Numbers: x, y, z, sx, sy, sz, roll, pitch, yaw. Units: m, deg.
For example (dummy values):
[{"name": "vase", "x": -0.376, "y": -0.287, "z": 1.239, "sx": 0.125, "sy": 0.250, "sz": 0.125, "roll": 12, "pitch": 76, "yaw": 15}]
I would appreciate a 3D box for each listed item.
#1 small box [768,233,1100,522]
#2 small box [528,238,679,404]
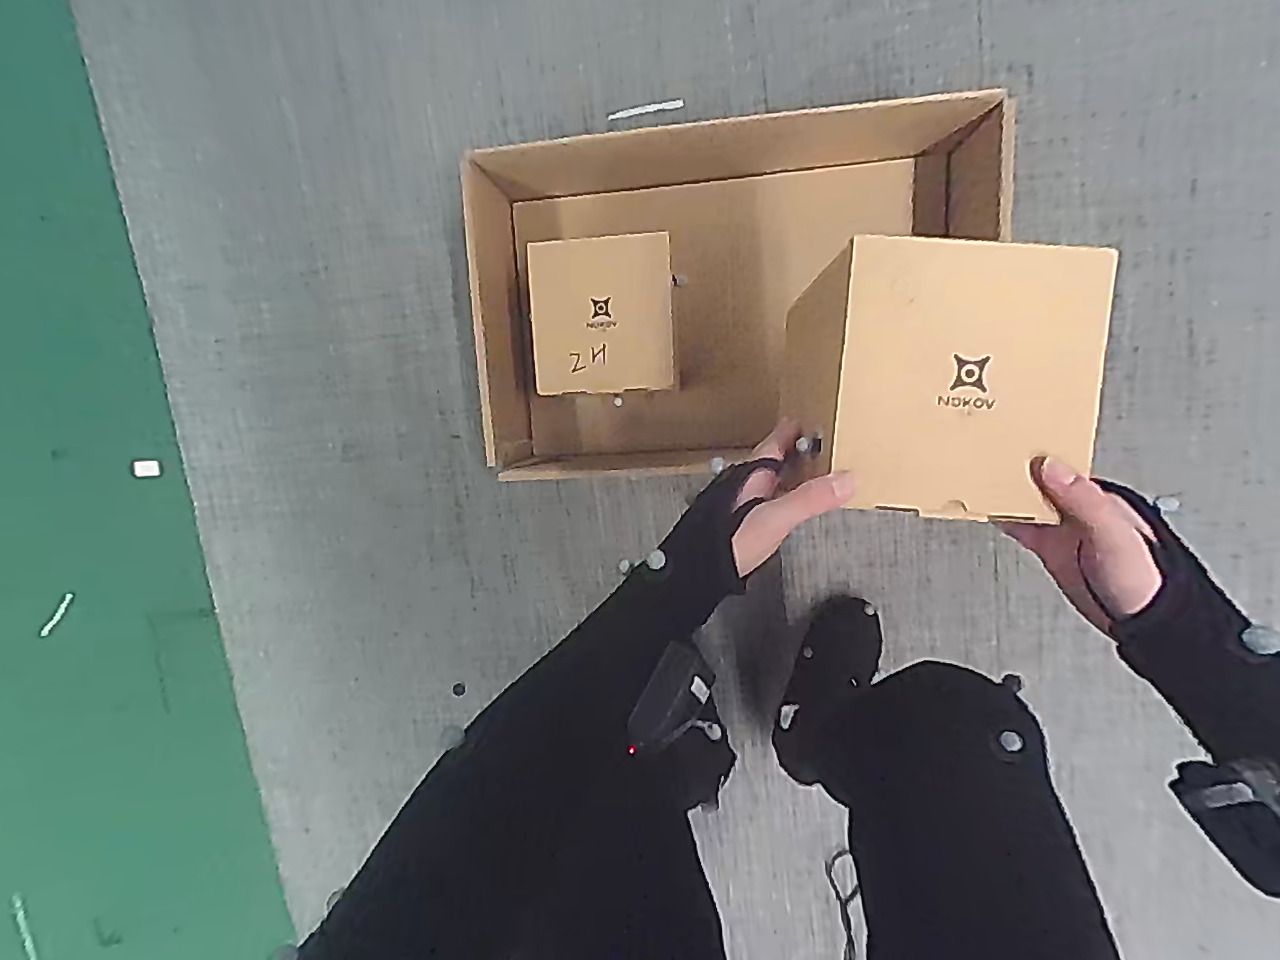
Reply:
[{"name": "small box", "x": 0.205, "y": -0.069, "z": 0.428, "sx": 0.168, "sy": 0.176, "sz": 0.179, "roll": 4, "pitch": 94, "yaw": 0}, {"name": "small box", "x": -0.038, "y": -0.191, "z": 0.698, "sx": 0.168, "sy": 0.176, "sz": 0.179, "roll": -2, "pitch": 97, "yaw": 7}]
